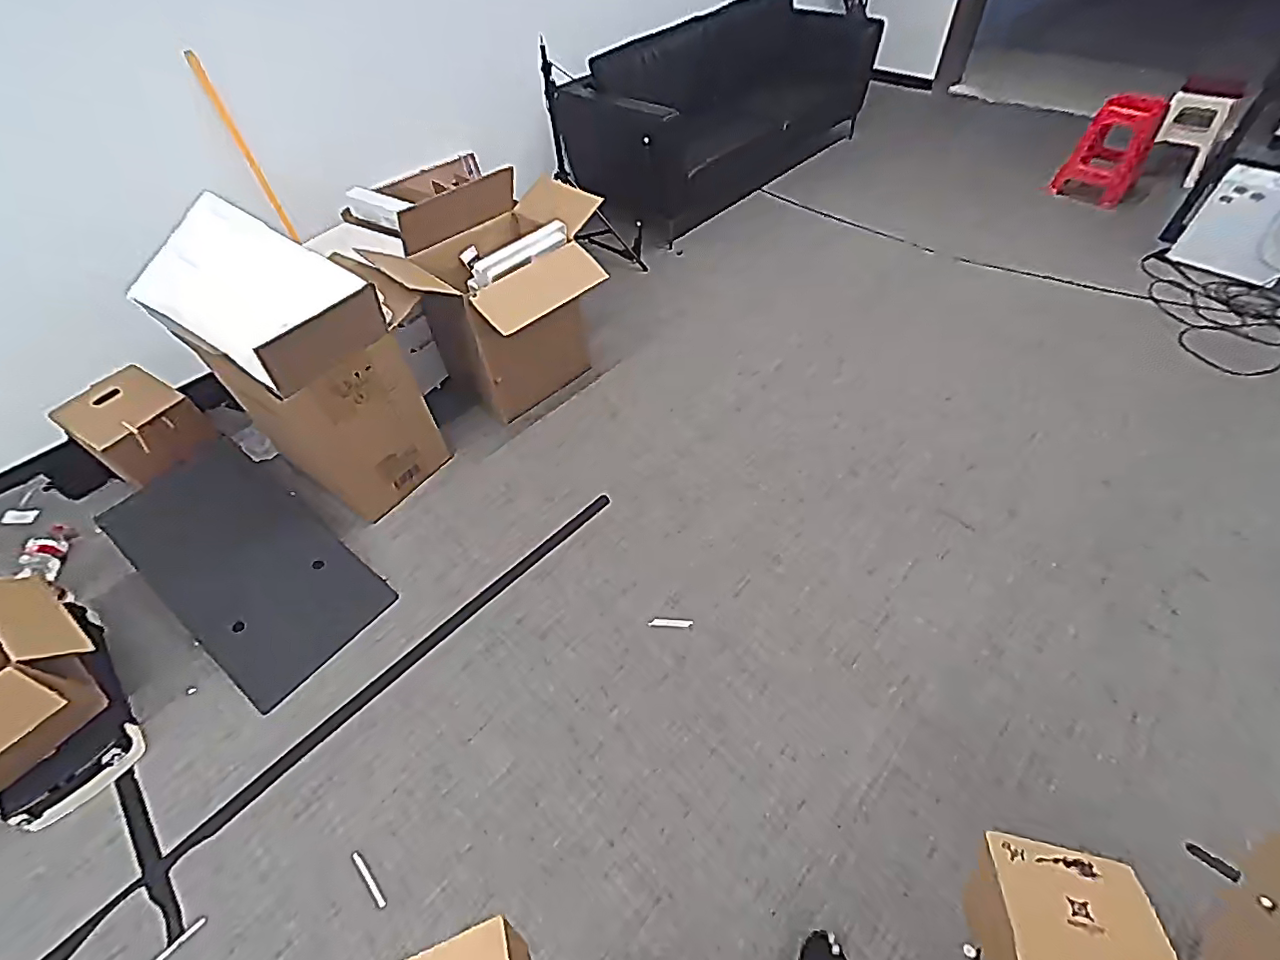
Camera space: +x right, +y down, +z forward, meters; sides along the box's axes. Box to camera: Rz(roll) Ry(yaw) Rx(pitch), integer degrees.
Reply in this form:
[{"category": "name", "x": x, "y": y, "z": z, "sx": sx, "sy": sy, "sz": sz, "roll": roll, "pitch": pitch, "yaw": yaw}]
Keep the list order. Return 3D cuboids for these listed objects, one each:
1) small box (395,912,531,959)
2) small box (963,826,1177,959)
[{"category": "small box", "x": -0.206, "y": 0.656, "z": 0.625, "sx": 0.168, "sy": 0.176, "sz": 0.179, "roll": -16, "pitch": 39, "yaw": -15}, {"category": "small box", "x": 0.512, "y": 0.576, "z": 0.655, "sx": 0.168, "sy": 0.176, "sz": 0.179, "roll": 6, "pitch": 24, "yaw": 18}]
